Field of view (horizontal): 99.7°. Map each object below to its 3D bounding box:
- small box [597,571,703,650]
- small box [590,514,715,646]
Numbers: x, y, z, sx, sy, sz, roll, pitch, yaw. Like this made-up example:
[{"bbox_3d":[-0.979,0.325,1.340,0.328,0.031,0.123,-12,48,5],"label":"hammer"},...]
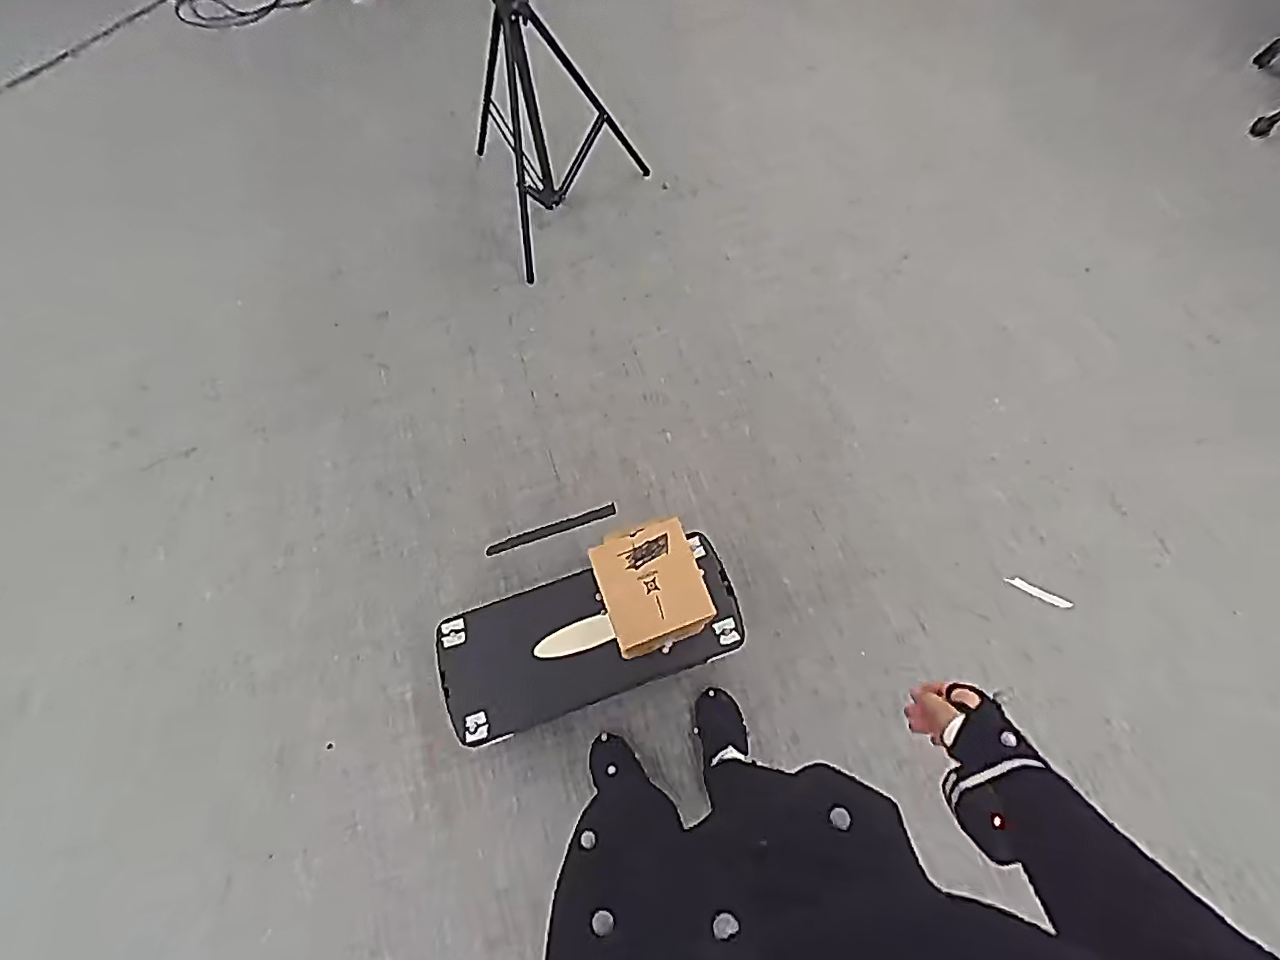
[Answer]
[{"bbox_3d":[0.019,0.246,1.124,0.168,0.176,0.179,-20,72,-4],"label":"small box"},{"bbox_3d":[0.020,0.186,0.971,0.168,0.176,0.179,-20,72,-4],"label":"small box"}]
